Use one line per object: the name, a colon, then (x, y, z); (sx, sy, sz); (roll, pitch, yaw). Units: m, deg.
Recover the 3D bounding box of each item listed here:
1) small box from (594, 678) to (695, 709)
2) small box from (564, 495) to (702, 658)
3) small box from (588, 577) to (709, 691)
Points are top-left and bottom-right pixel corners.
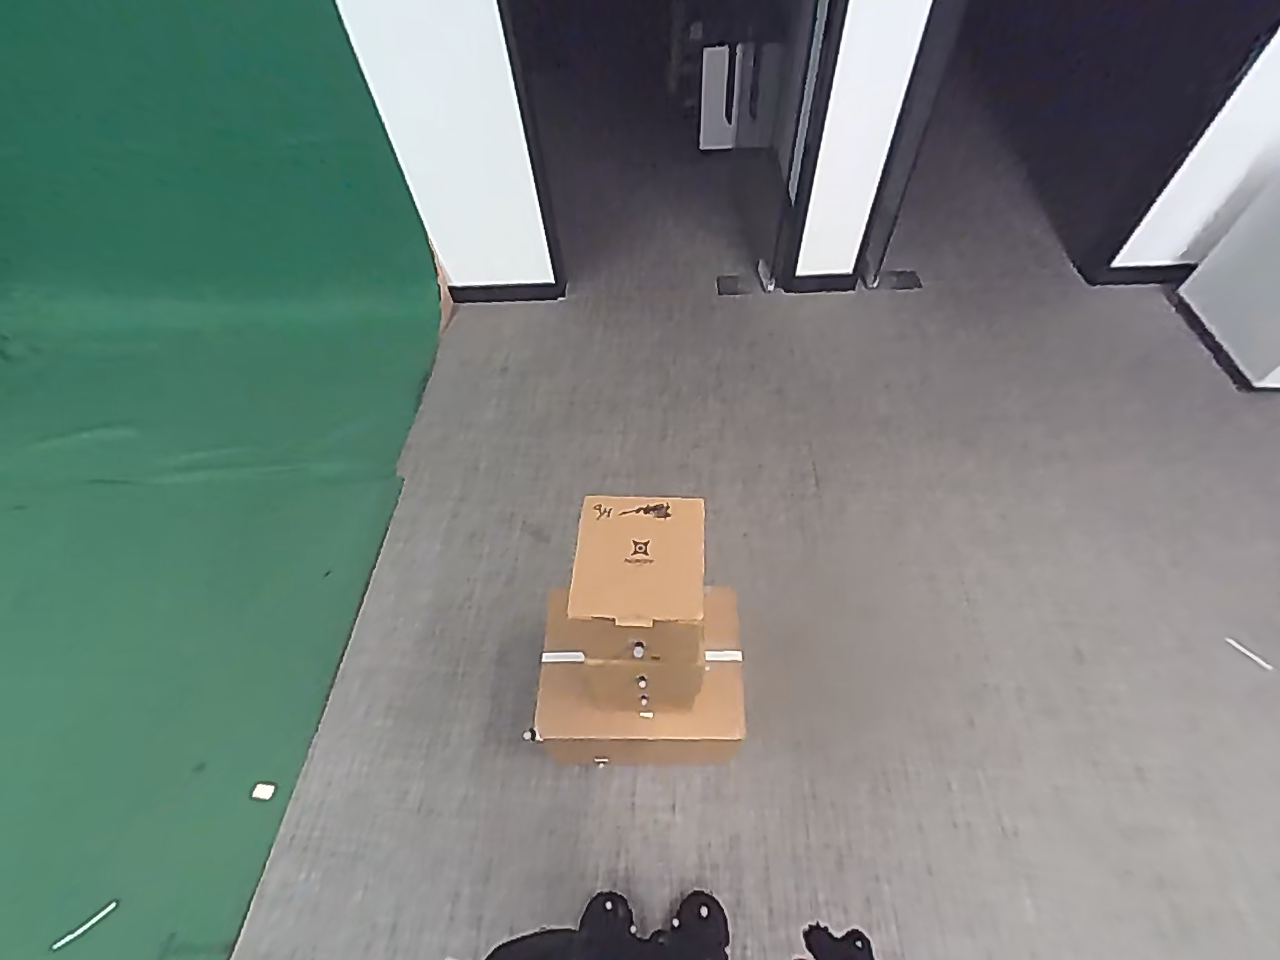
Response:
small box: (0.015, 0.327, 1.021); (0.179, 0.176, 0.168); (1, 56, 3)
small box: (0.002, 0.139, 0.753); (0.168, 0.176, 0.179); (2, 57, 6)
small box: (0.012, 0.240, 0.882); (0.179, 0.176, 0.168); (-3, 56, 1)
